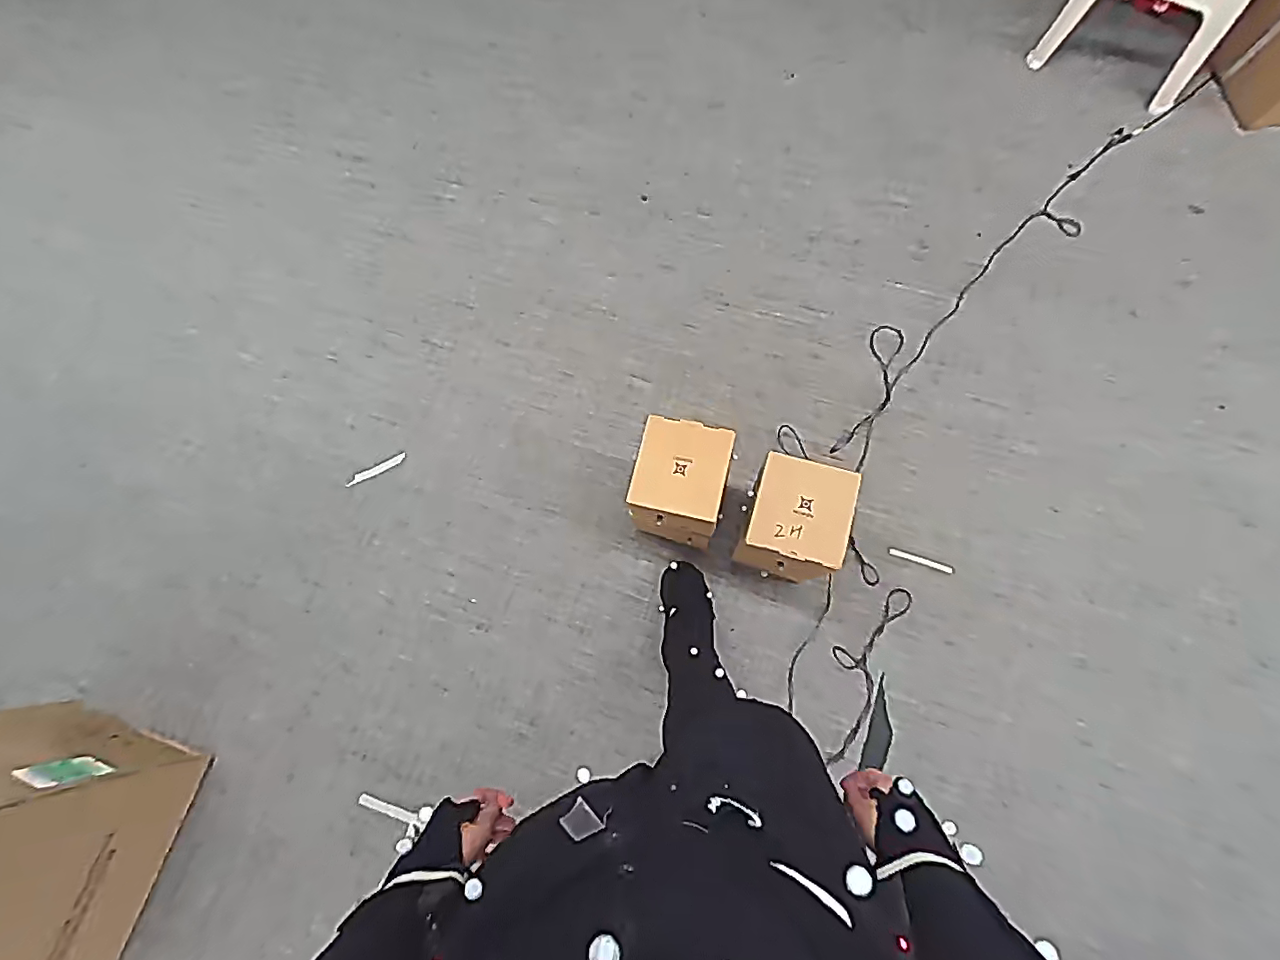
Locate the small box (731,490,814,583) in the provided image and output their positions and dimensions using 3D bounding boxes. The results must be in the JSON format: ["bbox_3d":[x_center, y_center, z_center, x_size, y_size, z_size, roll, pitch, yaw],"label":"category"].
[{"bbox_3d":[0.299,0.114,1.171,0.168,0.176,0.179,17,78,10],"label":"small box"}]

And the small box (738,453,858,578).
[{"bbox_3d":[0.285,0.073,1.012,0.168,0.176,0.179,16,78,10],"label":"small box"}]

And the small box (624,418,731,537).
[{"bbox_3d":[0.077,0.002,1.053,0.168,0.176,0.179,12,76,8],"label":"small box"}]
